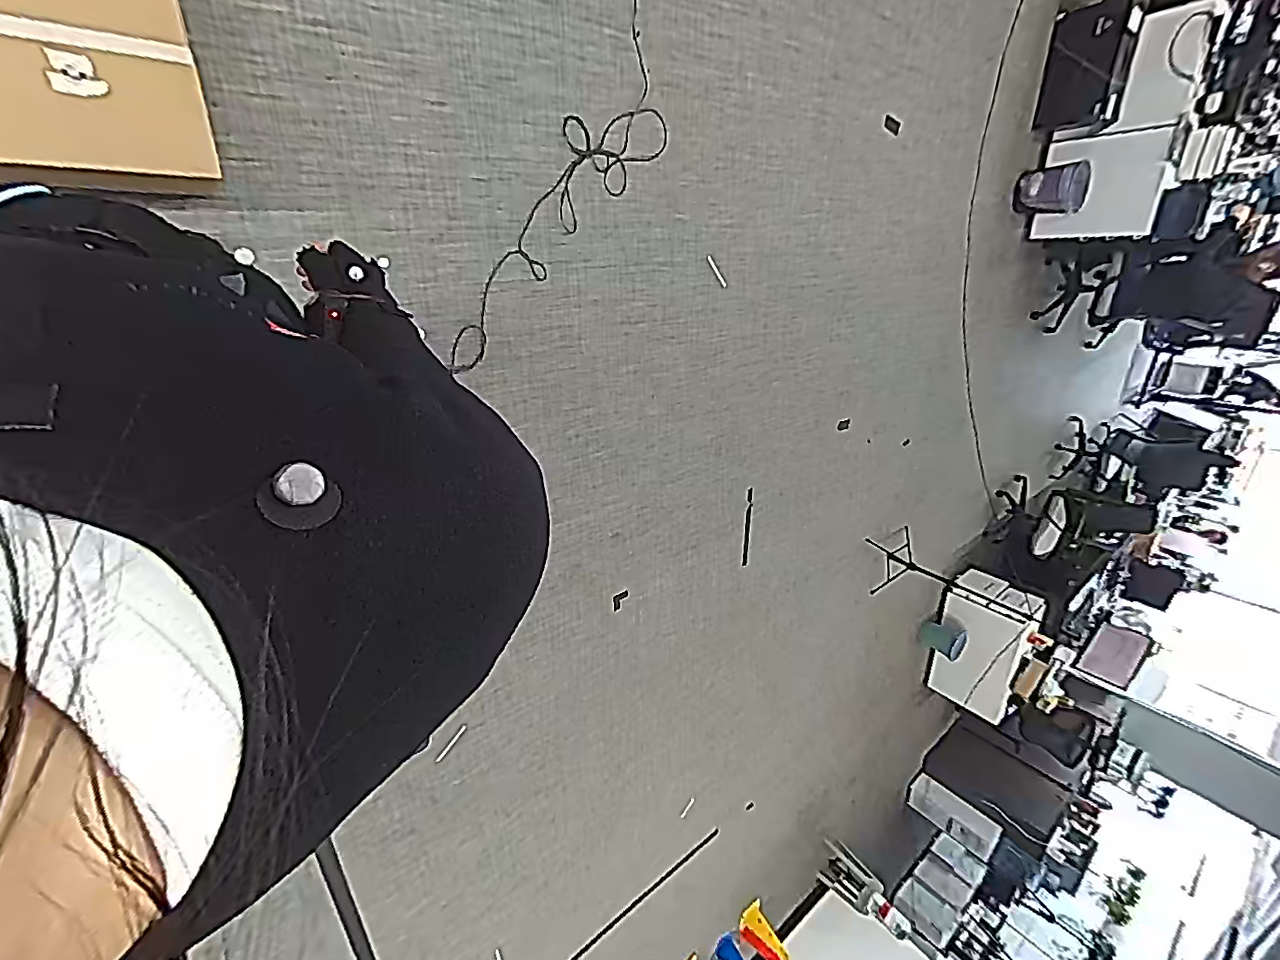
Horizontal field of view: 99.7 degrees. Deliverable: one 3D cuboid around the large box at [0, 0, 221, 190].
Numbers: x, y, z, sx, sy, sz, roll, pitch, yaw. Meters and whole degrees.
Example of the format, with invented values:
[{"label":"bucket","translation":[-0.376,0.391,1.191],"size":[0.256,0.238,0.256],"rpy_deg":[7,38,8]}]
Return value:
[{"label":"large box","translation":[-0.906,-0.619,0.784],"size":[0.408,0.320,0.320],"rpy_deg":[-17,118,-36]}]
